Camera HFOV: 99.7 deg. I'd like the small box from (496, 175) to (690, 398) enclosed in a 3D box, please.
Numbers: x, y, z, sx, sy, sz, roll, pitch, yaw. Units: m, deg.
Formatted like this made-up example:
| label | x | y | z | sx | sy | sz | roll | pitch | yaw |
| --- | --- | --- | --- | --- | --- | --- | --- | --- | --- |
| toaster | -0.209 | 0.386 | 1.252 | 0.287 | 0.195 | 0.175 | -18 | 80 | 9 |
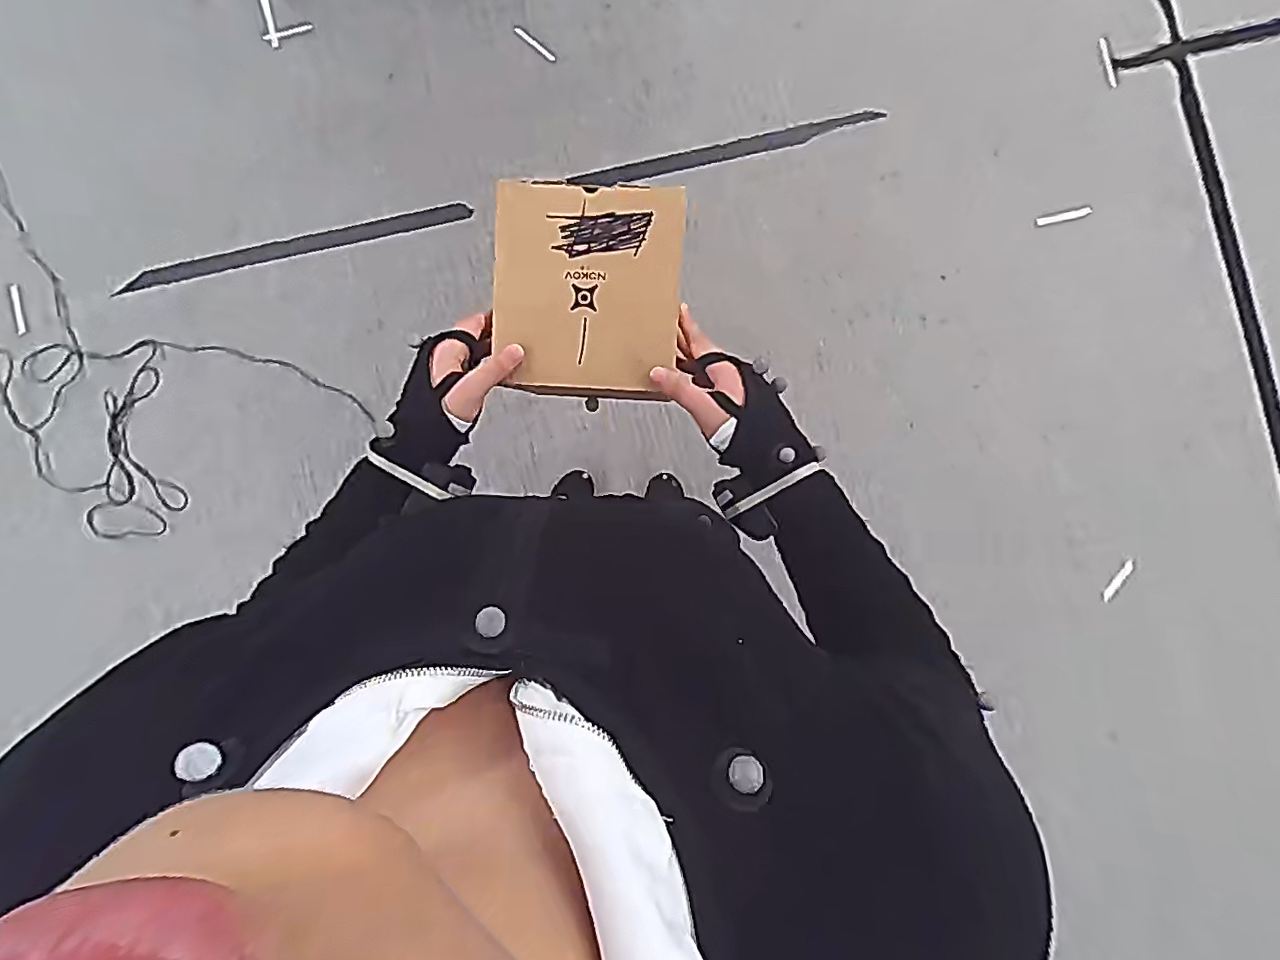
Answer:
| label | x | y | z | sx | sy | sz | roll | pitch | yaw |
| --- | --- | --- | --- | --- | --- | --- | --- | --- | --- |
| small box | -0.039 | -0.181 | 0.553 | 0.168 | 0.176 | 0.179 | 3 | 96 | 3 |
